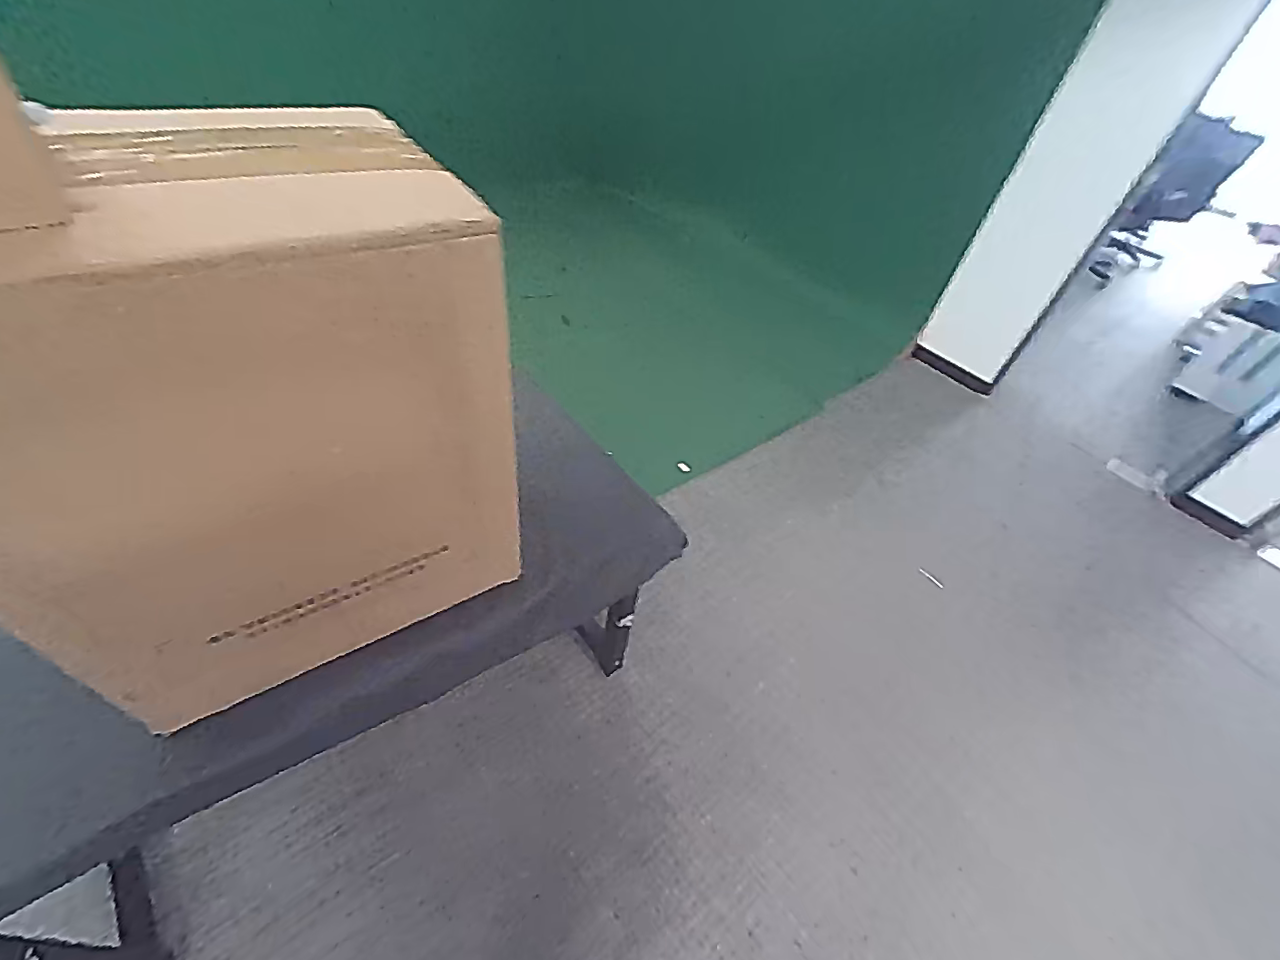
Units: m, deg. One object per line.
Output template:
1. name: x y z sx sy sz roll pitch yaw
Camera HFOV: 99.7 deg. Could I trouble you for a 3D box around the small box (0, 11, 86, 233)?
1. small box: -0.536 -0.277 0.362 0.179 0.176 0.168 -23 58 -27
